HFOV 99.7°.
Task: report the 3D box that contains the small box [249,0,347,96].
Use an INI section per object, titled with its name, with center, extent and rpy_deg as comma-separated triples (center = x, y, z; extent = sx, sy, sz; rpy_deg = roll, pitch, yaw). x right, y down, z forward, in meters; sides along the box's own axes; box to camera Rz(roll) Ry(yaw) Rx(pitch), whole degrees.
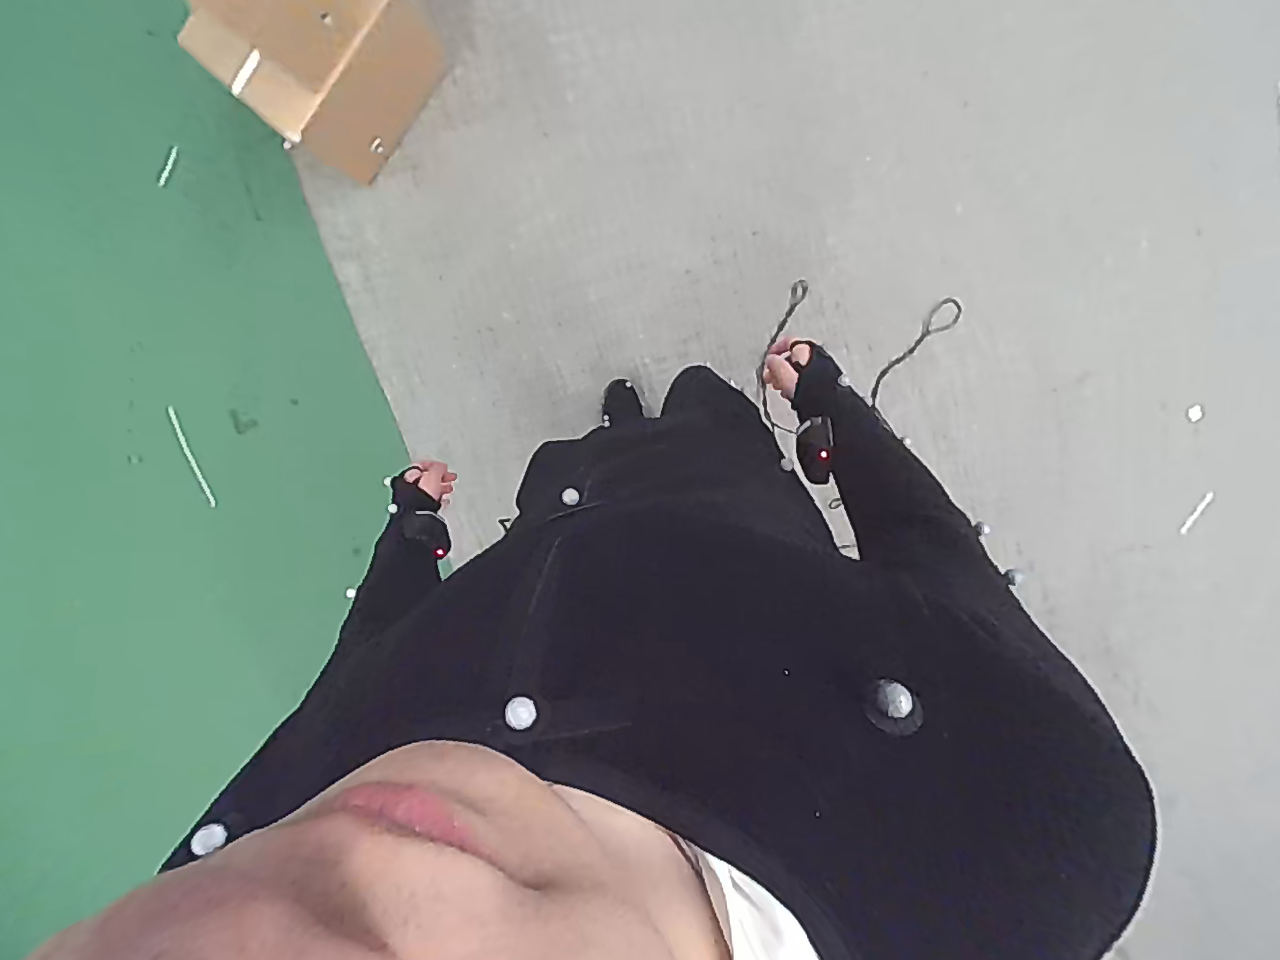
[small box]
center = -0.713, -0.912, 1.053
extent = 0.168, 0.176, 0.179
rpy_deg = 41, 100, -7
